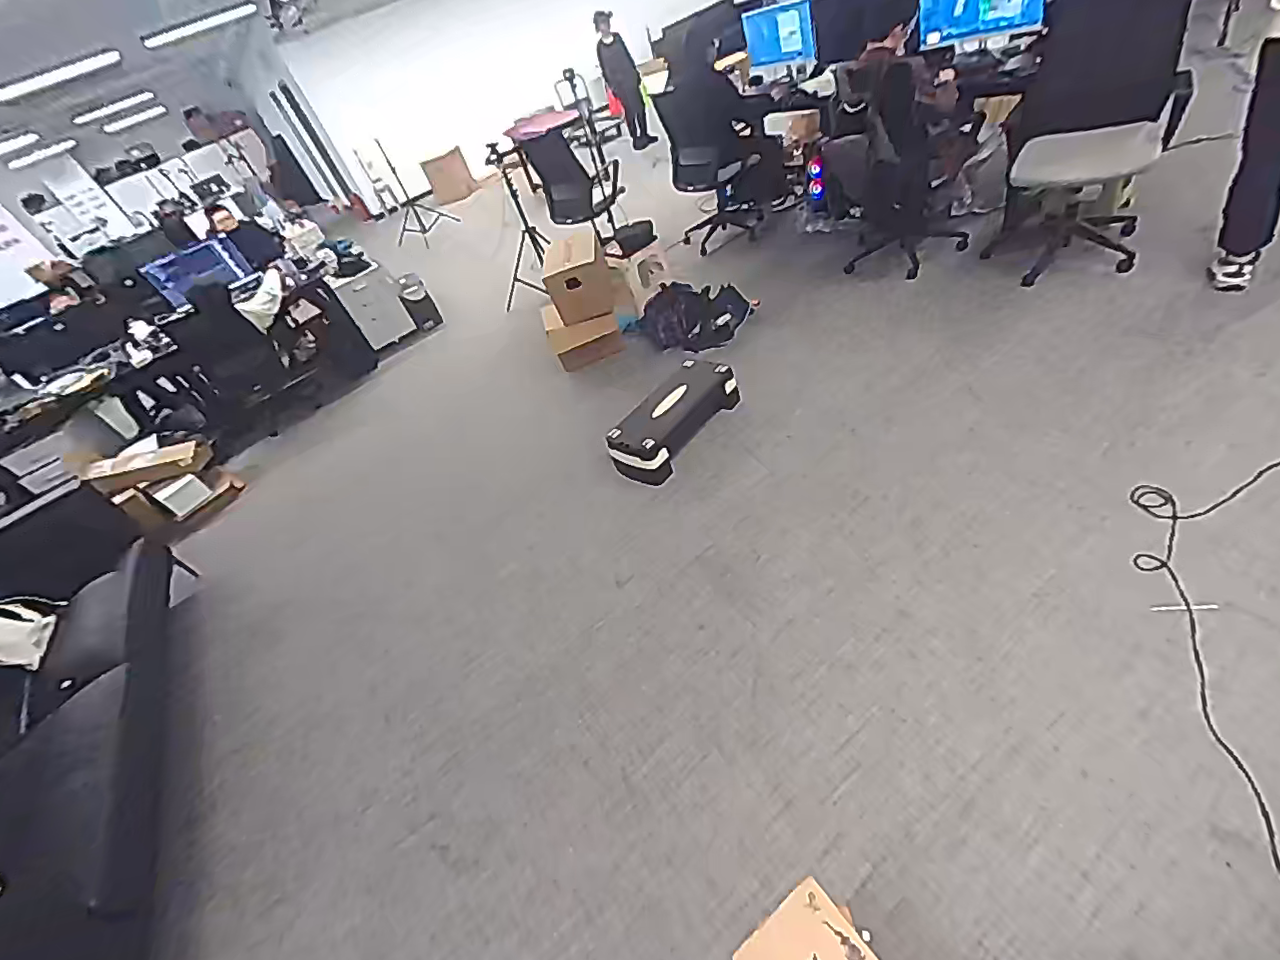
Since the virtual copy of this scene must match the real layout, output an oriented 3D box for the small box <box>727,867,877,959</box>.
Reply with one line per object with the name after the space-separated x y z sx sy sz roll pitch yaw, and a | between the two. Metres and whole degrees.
0.268 0.764 0.850 0.179 0.176 0.168 -36 43 -12 | small box
